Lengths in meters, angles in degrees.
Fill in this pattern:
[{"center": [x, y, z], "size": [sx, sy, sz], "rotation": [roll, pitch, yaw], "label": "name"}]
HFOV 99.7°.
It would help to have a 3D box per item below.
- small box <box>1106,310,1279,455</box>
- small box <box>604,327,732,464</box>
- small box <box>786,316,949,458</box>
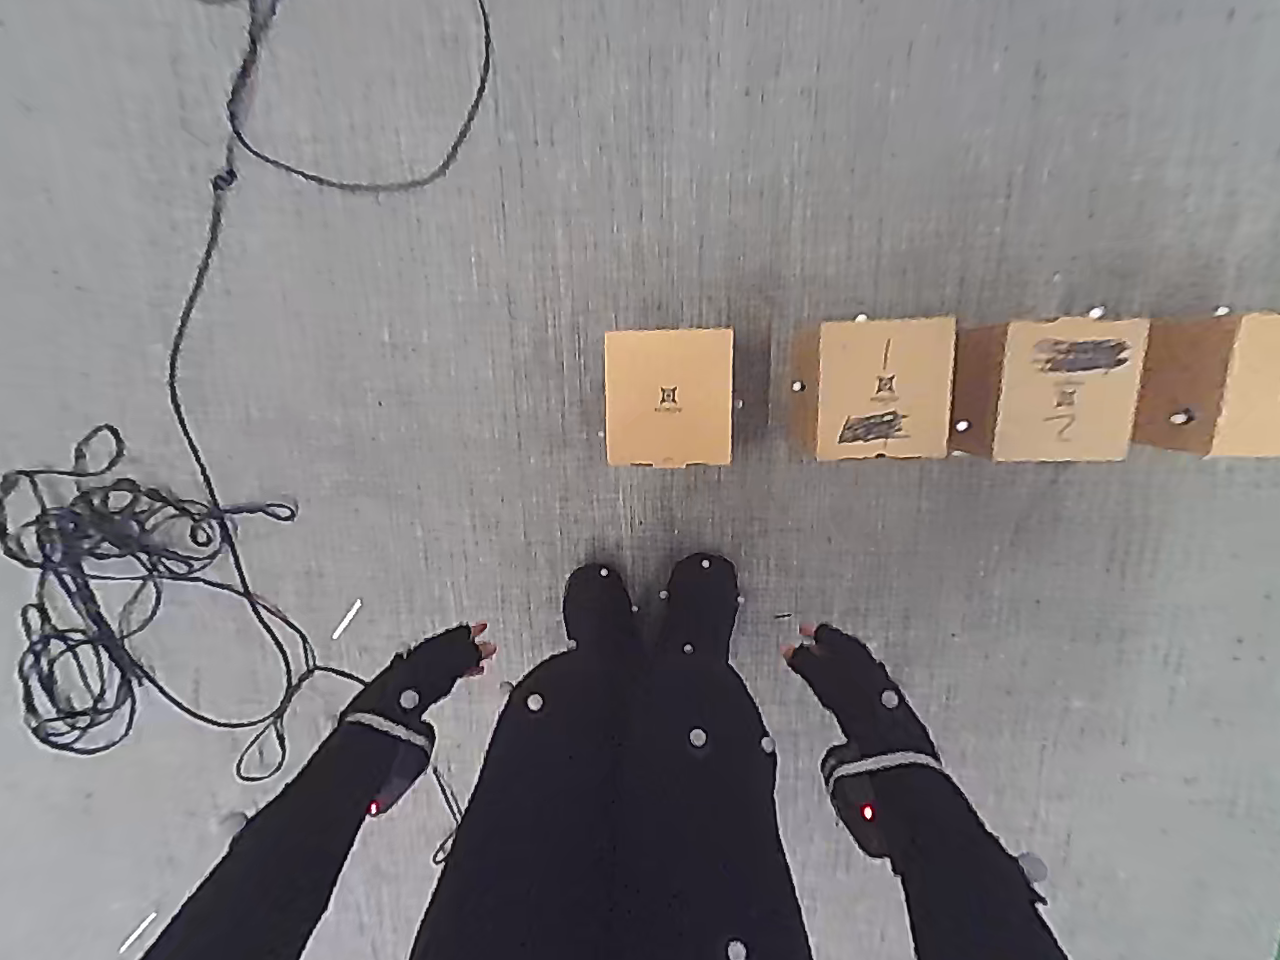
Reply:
[{"center": [0.785, -0.132, 0.732], "size": [0.168, 0.176, 0.179], "rotation": [0, 101, 3], "label": "small box"}, {"center": [0.040, -0.120, 0.780], "size": [0.168, 0.176, 0.179], "rotation": [-1, 101, 4], "label": "small box"}, {"center": [0.305, -0.129, 0.760], "size": [0.168, 0.176, 0.179], "rotation": [-1, 99, 4], "label": "small box"}]
